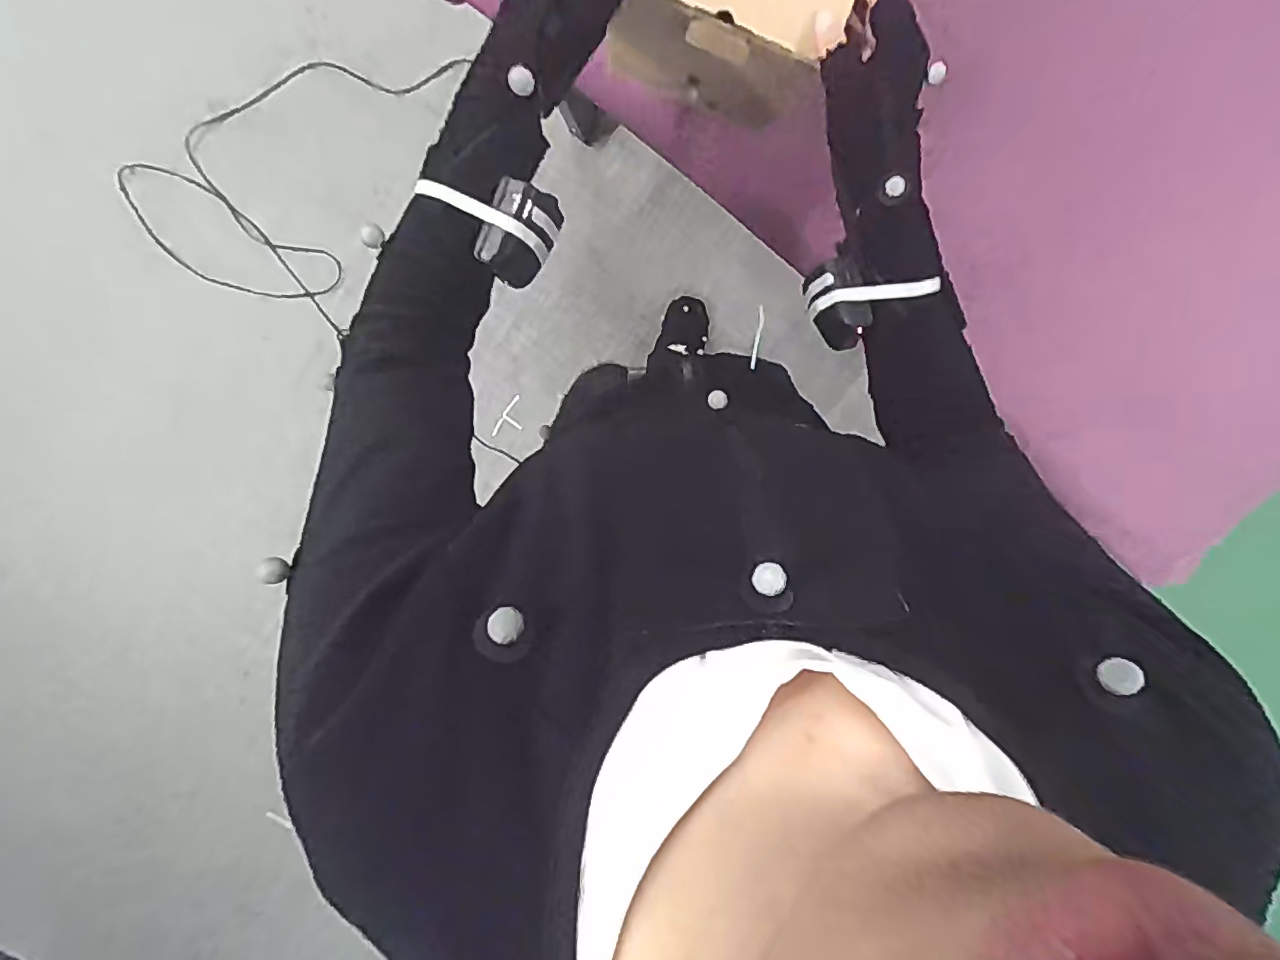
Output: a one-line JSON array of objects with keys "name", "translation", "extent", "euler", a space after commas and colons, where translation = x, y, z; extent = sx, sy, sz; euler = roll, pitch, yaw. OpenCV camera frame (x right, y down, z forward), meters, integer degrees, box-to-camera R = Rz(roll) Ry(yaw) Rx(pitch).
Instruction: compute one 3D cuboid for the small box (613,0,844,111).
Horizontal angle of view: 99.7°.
[{"name": "small box", "translation": [0.077, -0.433, 0.423], "extent": [0.168, 0.176, 0.179], "euler": [16, 109, -9]}]
